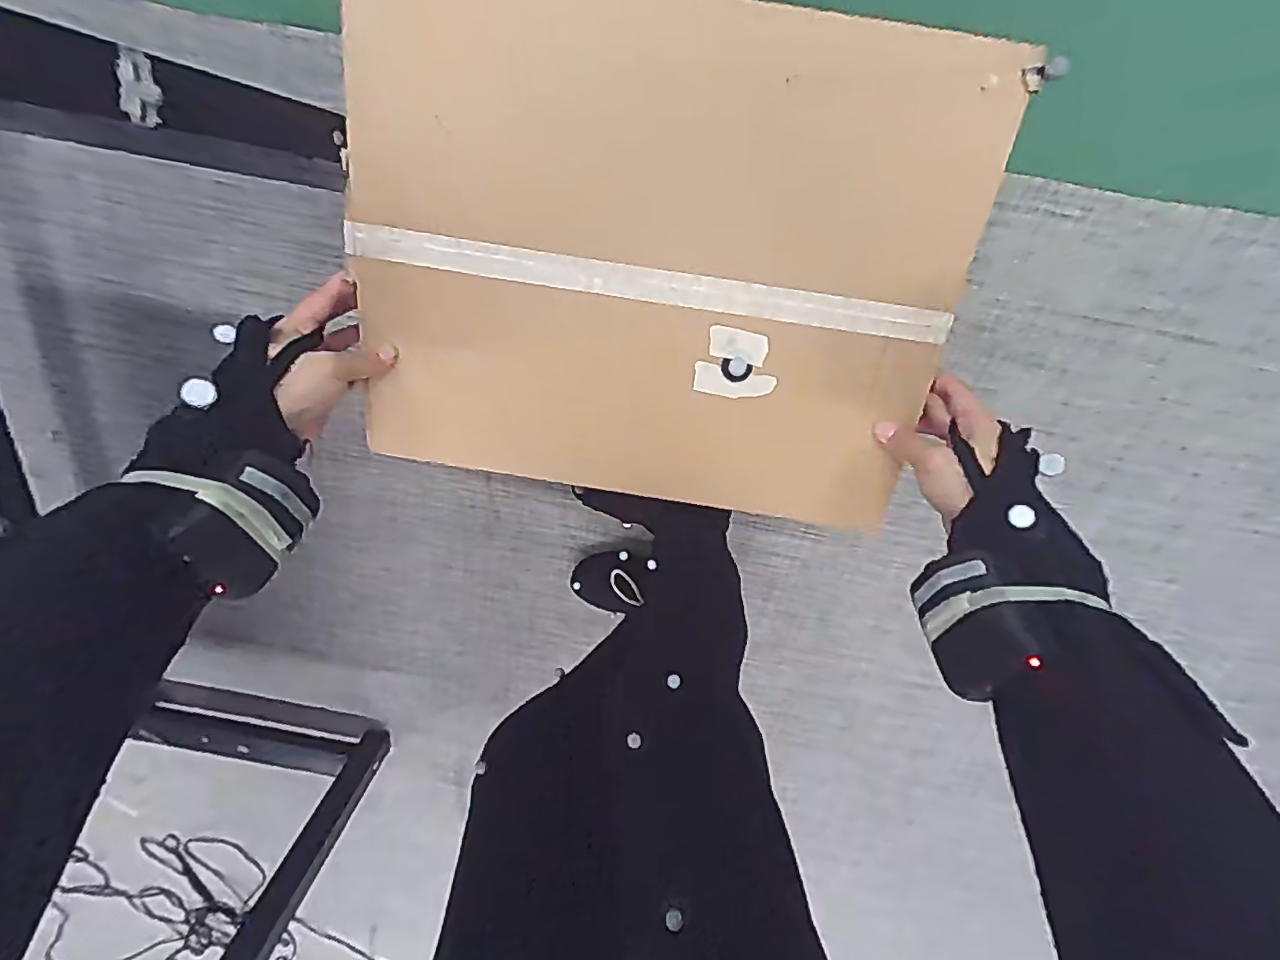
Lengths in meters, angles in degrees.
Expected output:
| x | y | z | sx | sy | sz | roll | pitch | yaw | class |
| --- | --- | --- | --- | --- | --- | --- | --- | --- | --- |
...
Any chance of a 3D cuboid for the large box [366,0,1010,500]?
| x | y | z | sx | sy | sz | roll | pitch | yaw | class |
| --- | --- | --- | --- | --- | --- | --- | --- | --- | --- |
| 0.017 | -0.200 | 0.519 | 0.408 | 0.320 | 0.320 | 8 | 112 | -1 | large box |
